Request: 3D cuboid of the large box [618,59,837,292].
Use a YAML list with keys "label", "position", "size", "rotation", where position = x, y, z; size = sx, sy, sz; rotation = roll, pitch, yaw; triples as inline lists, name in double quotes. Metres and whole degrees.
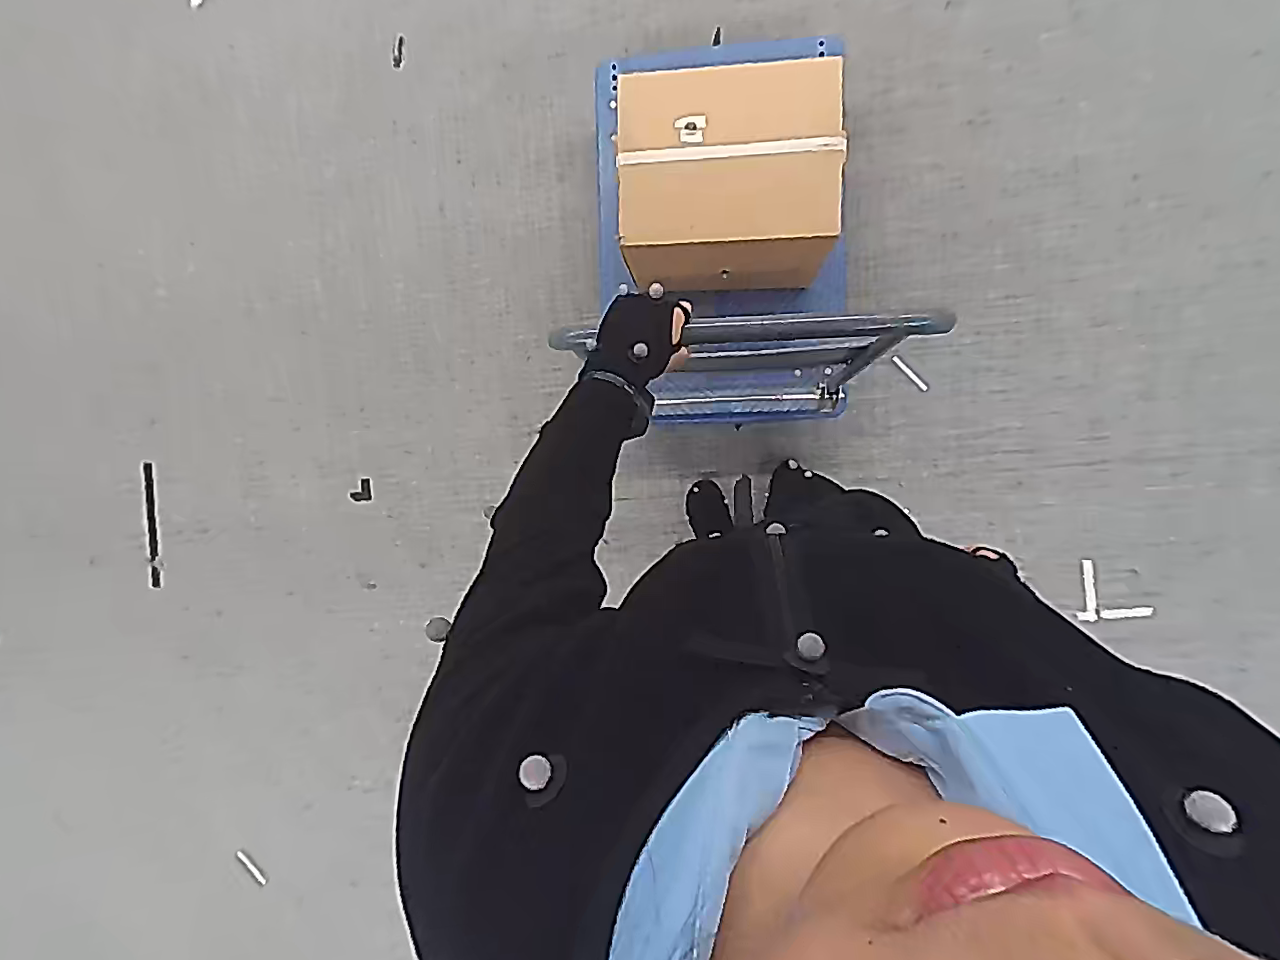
- label: "large box"
  position: [0.179, -0.605, 1.145]
  size: [0.408, 0.320, 0.320]
  rotation: [0, 92, 8]
